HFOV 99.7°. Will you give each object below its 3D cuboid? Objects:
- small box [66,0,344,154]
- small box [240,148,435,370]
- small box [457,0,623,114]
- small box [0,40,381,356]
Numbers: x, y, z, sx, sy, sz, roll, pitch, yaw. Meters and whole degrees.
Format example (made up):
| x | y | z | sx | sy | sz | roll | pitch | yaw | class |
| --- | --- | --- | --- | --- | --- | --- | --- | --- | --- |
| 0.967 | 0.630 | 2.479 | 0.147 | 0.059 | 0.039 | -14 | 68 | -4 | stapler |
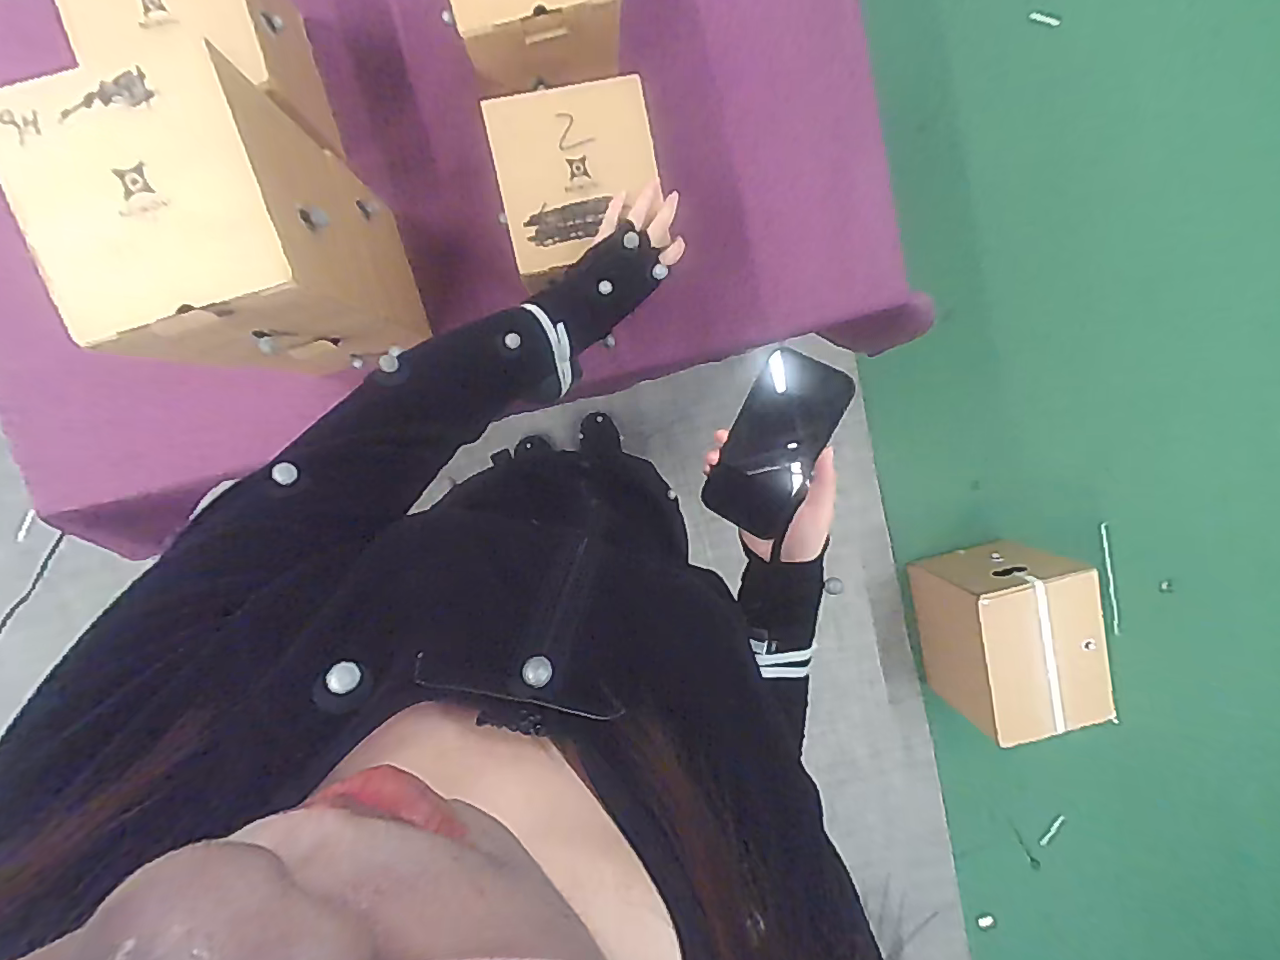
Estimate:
| x | y | z | sx | sy | sz | roll | pitch | yaw | class |
| --- | --- | --- | --- | --- | --- | --- | --- | --- | --- |
| -0.458 | -0.459 | 0.591 | 0.168 | 0.176 | 0.179 | -14 | 98 | -3 | small box |
| -0.364 | -0.237 | 0.626 | 0.168 | 0.176 | 0.179 | -16 | 98 | -1 | small box |
| -0.123 | -0.558 | 0.602 | 0.168 | 0.176 | 0.179 | -17 | 100 | -2 | small box |
| -0.355 | -0.212 | 0.463 | 0.168 | 0.176 | 0.179 | -17 | 98 | -2 | small box |
